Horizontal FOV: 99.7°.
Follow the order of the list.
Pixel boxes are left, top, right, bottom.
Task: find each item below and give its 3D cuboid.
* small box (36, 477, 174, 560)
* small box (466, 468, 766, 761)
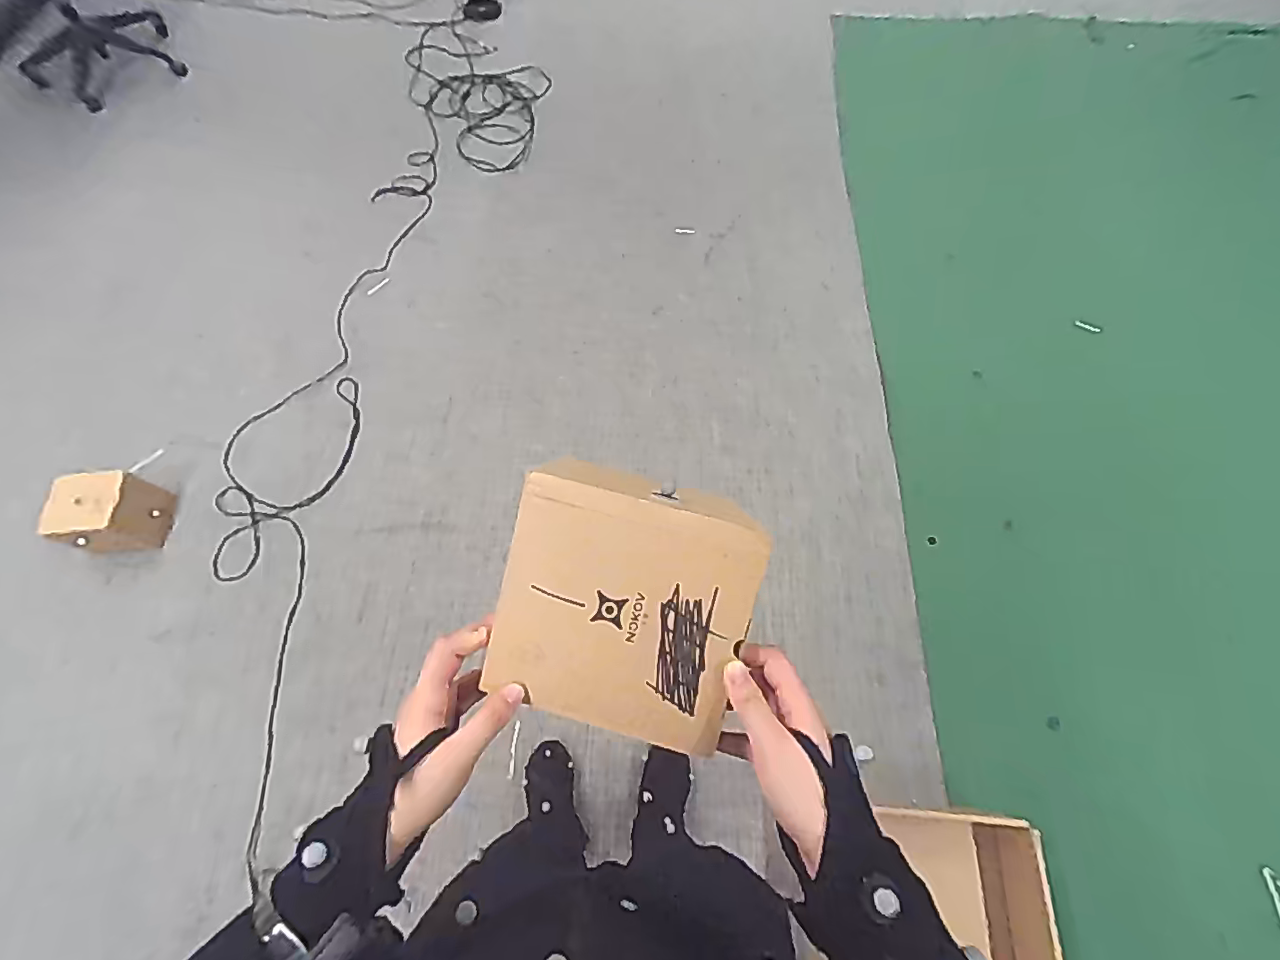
[{"bbox_3d":[-1.416,0.108,1.445,0.179,0.176,0.168,-6,66,-2],"label":"small box"},{"bbox_3d":[-0.017,0.090,0.448,0.179,0.176,0.168,14,96,0],"label":"small box"}]
